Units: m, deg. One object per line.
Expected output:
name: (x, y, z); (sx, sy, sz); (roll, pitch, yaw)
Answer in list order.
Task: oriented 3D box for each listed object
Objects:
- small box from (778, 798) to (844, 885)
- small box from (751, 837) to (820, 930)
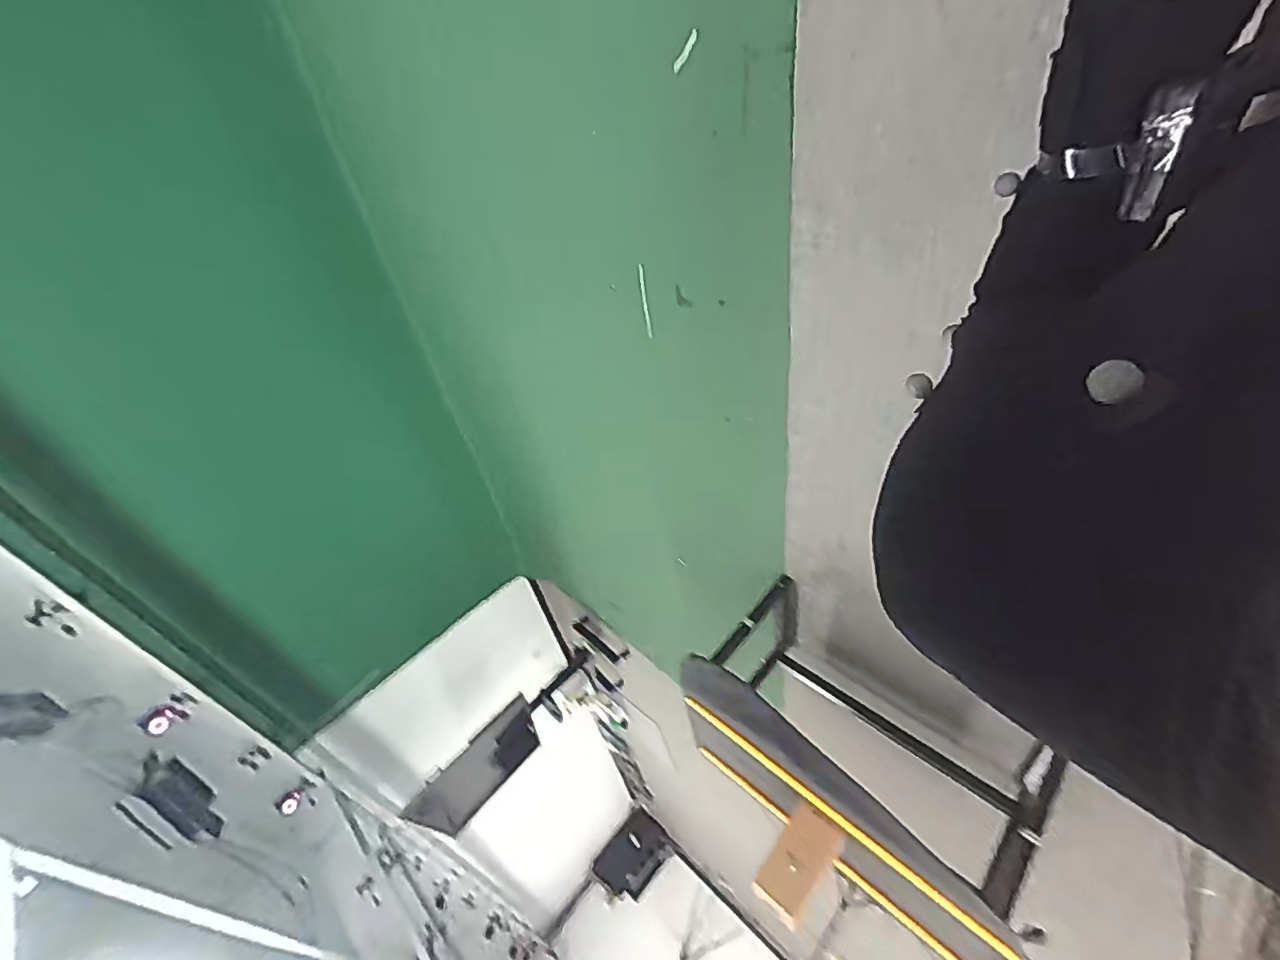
small box: (0.609, 1.278, 1.918); (0.168, 0.176, 0.179); (24, 143, 38)
small box: (0.496, 1.373, 1.844); (0.168, 0.176, 0.179); (27, 143, 38)
